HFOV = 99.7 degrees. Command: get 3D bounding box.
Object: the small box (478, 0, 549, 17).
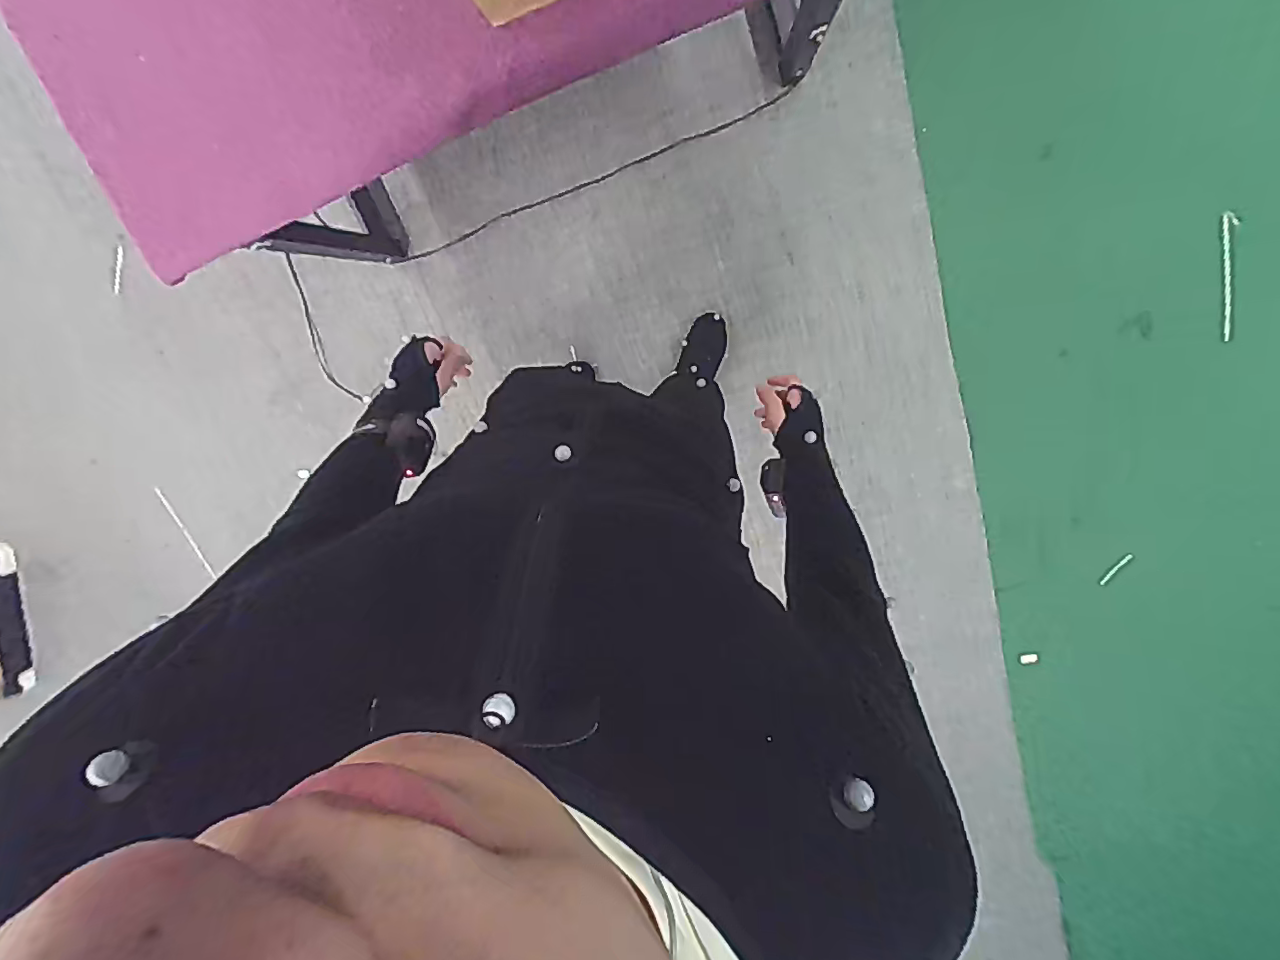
[{"bbox_3d":[-0.145,-0.667,0.601,0.168,0.176,0.179,-14,105,10],"label":"small box"}]
